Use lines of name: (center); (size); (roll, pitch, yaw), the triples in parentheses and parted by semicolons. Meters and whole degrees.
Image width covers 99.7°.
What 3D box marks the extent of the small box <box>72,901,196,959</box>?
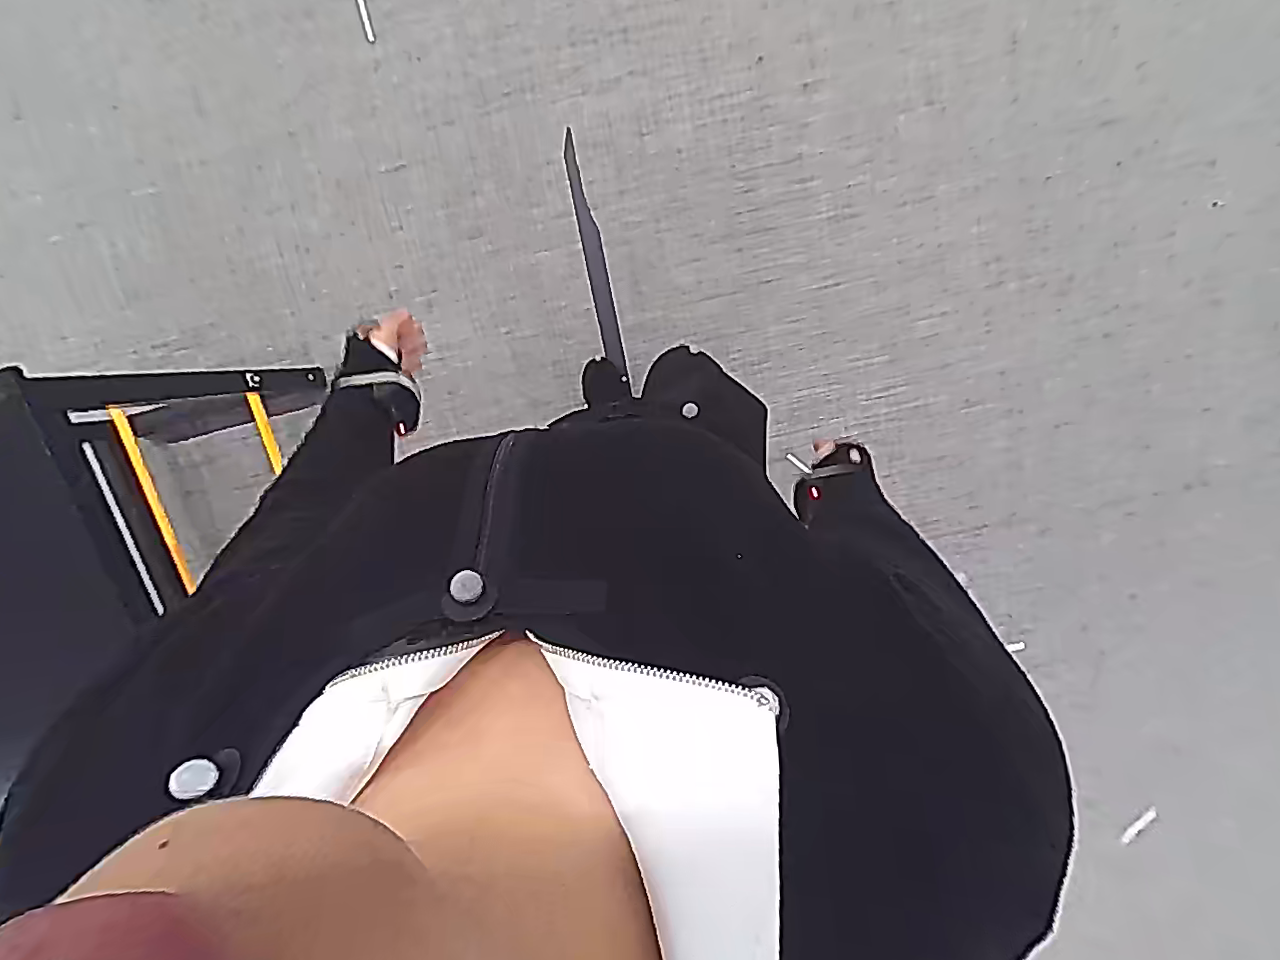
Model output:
small box: (-0.876, 0.839, 0.879); (0.168, 0.176, 0.179); (-12, 101, 4)
